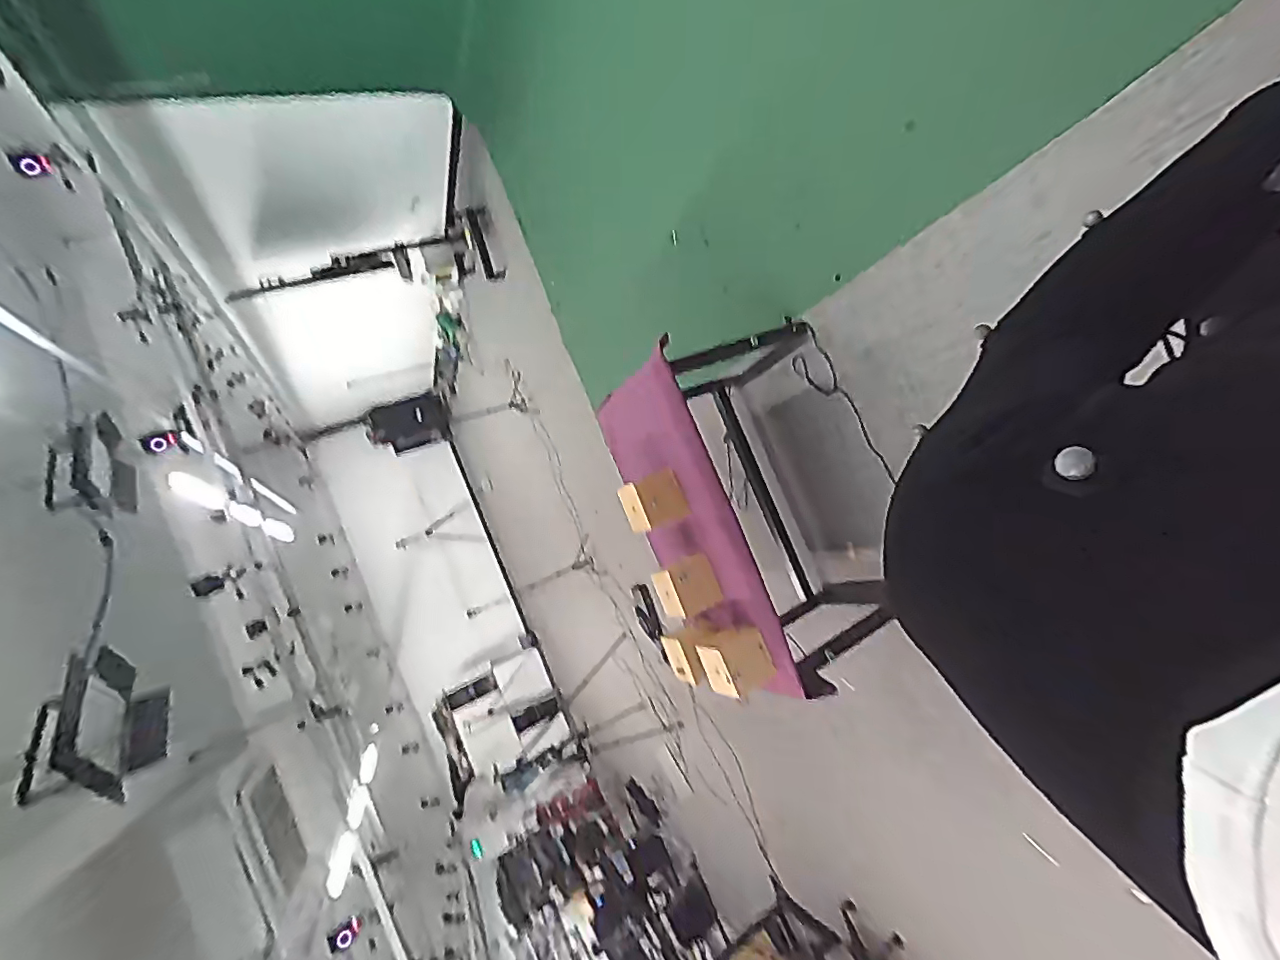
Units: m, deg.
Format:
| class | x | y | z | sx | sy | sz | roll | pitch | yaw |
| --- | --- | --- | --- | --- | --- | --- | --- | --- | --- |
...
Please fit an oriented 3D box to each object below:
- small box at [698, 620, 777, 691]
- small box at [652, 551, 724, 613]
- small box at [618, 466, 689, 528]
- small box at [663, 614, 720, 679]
| class | x | y | z | sx | sy | sz | roll | pitch | yaw |
| --- | --- | --- | --- | --- | --- | --- | --- | --- | --- |
| small box | 0.332 | 0.588 | 1.834 | 0.168 | 0.176 | 0.179 | 66 | 157 | 3 |
| small box | 0.175 | 0.365 | 1.968 | 0.179 | 0.176 | 0.168 | 67 | 156 | 1 |
| small box | 0.050 | 0.059 | 1.969 | 0.179 | 0.176 | 0.168 | 66 | 155 | 0 |
| small box | 0.223 | 0.641 | 2.099 | 0.168 | 0.176 | 0.179 | -26 | 86 | 65 |
